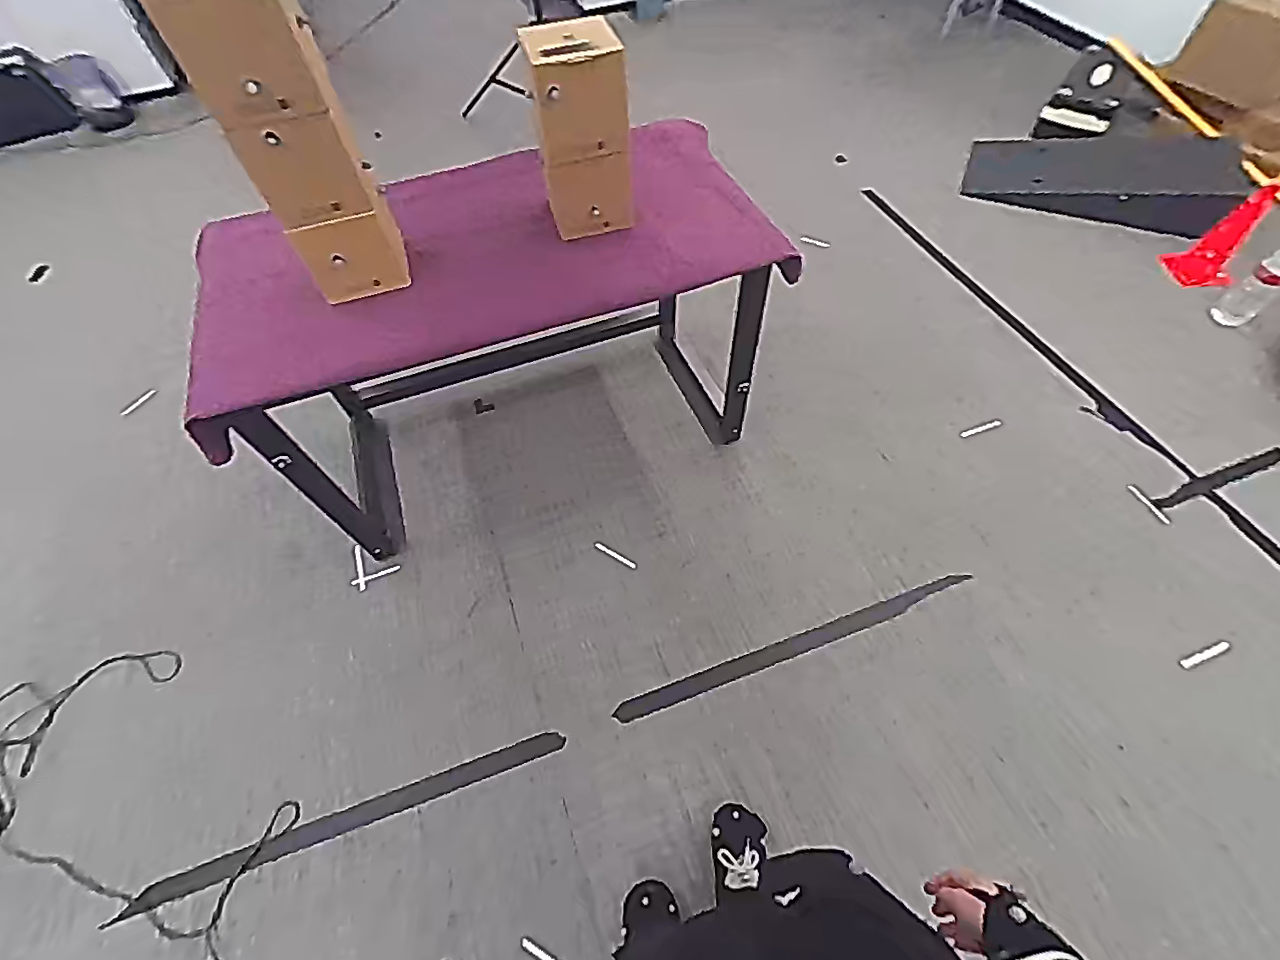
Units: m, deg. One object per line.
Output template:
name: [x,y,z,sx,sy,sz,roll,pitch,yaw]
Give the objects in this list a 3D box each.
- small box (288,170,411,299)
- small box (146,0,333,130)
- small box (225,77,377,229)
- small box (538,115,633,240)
small box: [-0.583,-0.490,1.099,0.168,0.176,0.179,-18,58,-8]
small box: [-0.593,-0.671,0.824,0.168,0.176,0.179,-17,59,-8]
small box: [-0.592,-0.582,0.963,0.168,0.176,0.179,-18,58,-9]
small box: [-0.116,-0.659,1.183,0.168,0.176,0.179,-14,58,-5]
